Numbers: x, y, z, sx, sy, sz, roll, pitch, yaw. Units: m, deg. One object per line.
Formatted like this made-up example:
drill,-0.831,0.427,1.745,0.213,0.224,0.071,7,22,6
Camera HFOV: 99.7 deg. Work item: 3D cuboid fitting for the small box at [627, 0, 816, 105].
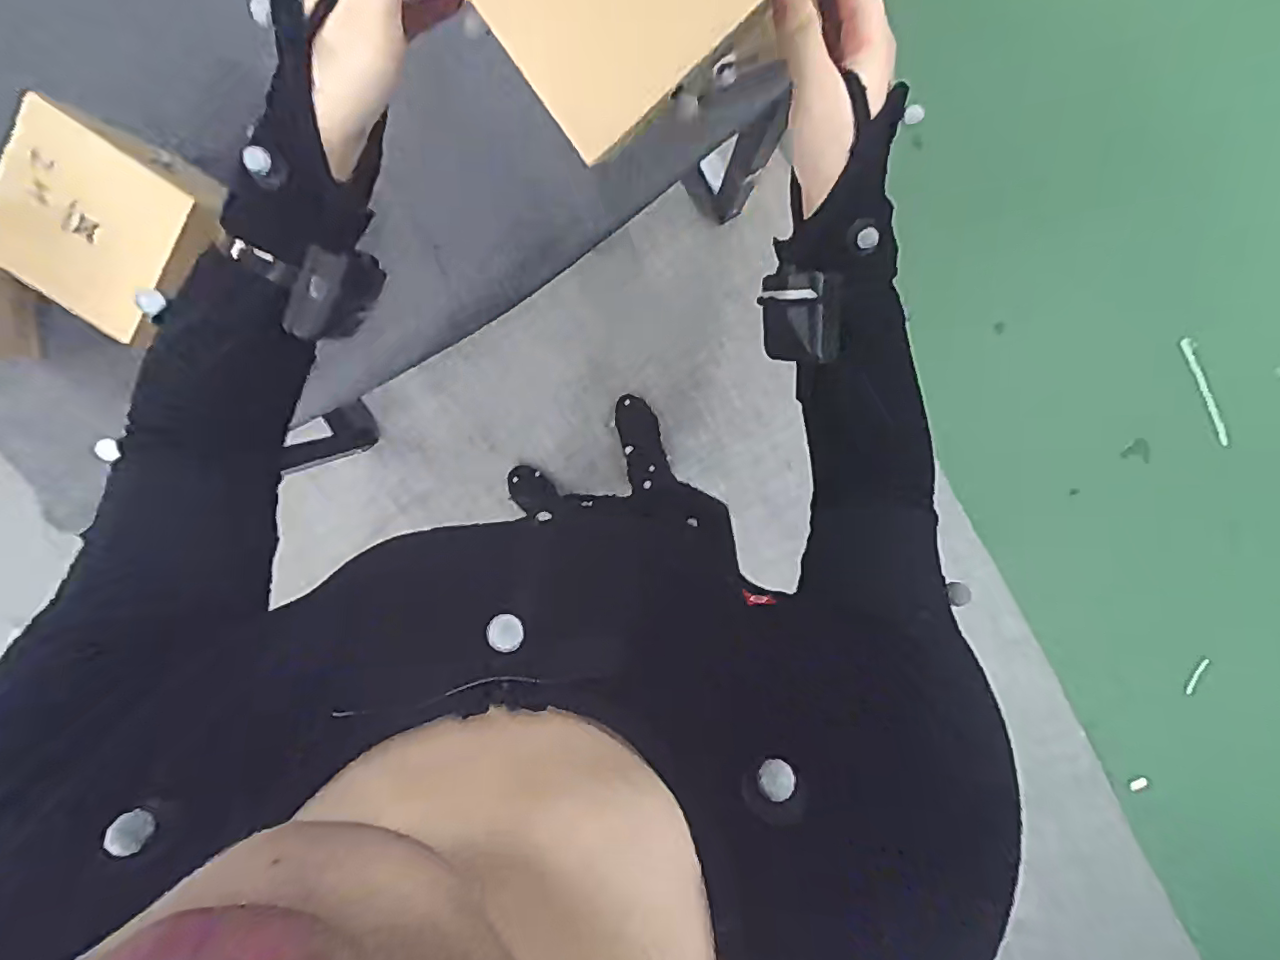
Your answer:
small box,0.069,-0.523,0.527,0.168,0.176,0.179,-21,98,7

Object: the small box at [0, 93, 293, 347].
small box,-0.538,-0.265,0.601,0.179,0.176,0.168,34,100,-5
